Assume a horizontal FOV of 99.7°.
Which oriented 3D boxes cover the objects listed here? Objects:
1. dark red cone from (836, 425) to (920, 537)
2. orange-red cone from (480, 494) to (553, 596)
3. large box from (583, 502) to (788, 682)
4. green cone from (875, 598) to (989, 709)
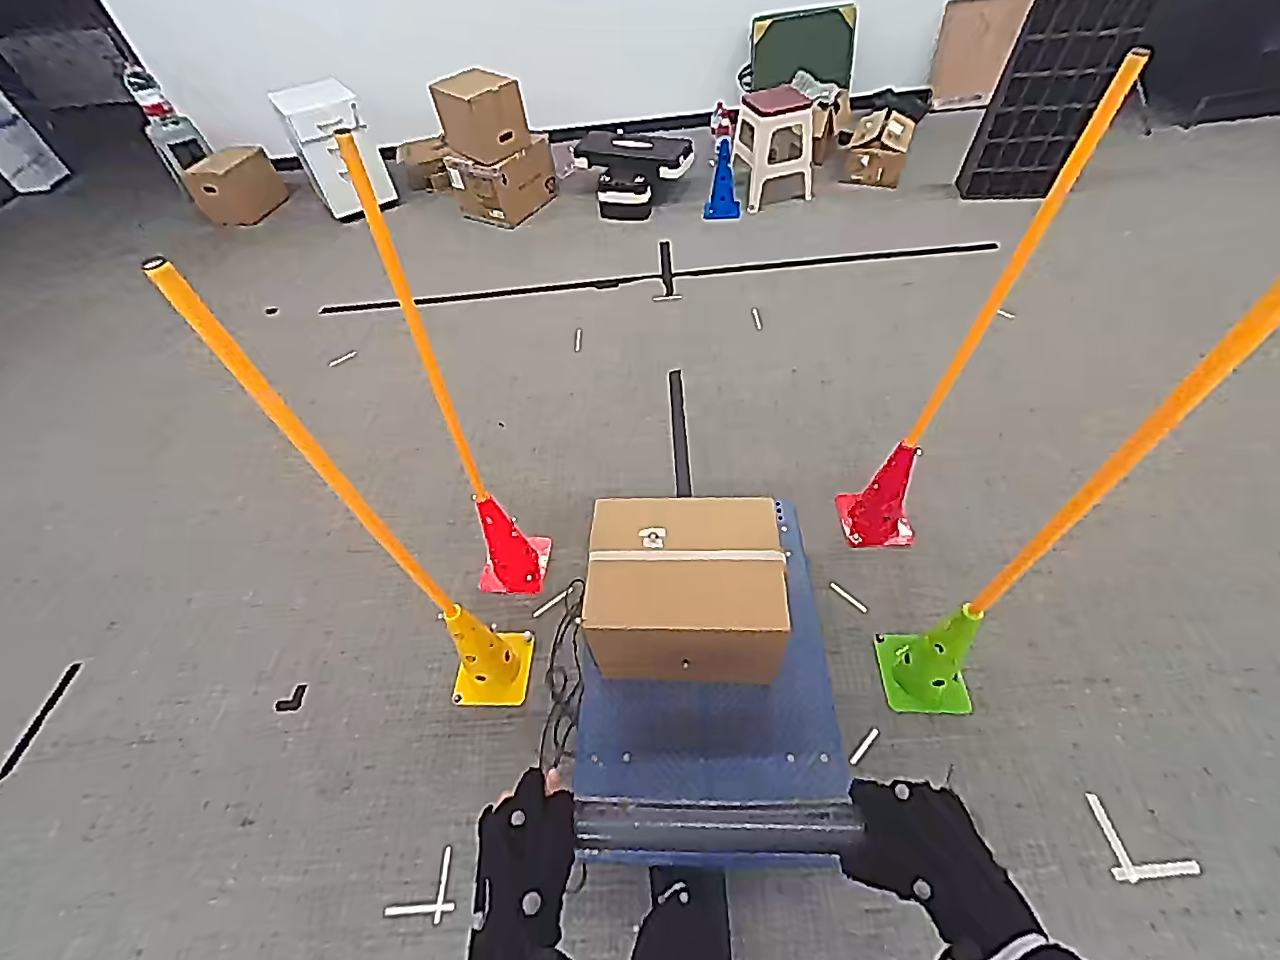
[{"bbox_3d":[0.722,-0.007,1.560,0.201,0.394,0.202,-3,51,2],"label":"dark red cone"},{"bbox_3d":[-0.399,0.162,1.581,0.198,0.360,0.199,2,50,7],"label":"orange-red cone"},{"bbox_3d":[0.106,0.268,1.249,0.408,0.320,0.320,-2,51,6],"label":"large box"},{"bbox_3d":[0.716,0.381,1.268,0.202,0.368,0.200,-1,51,5],"label":"green cone"}]
